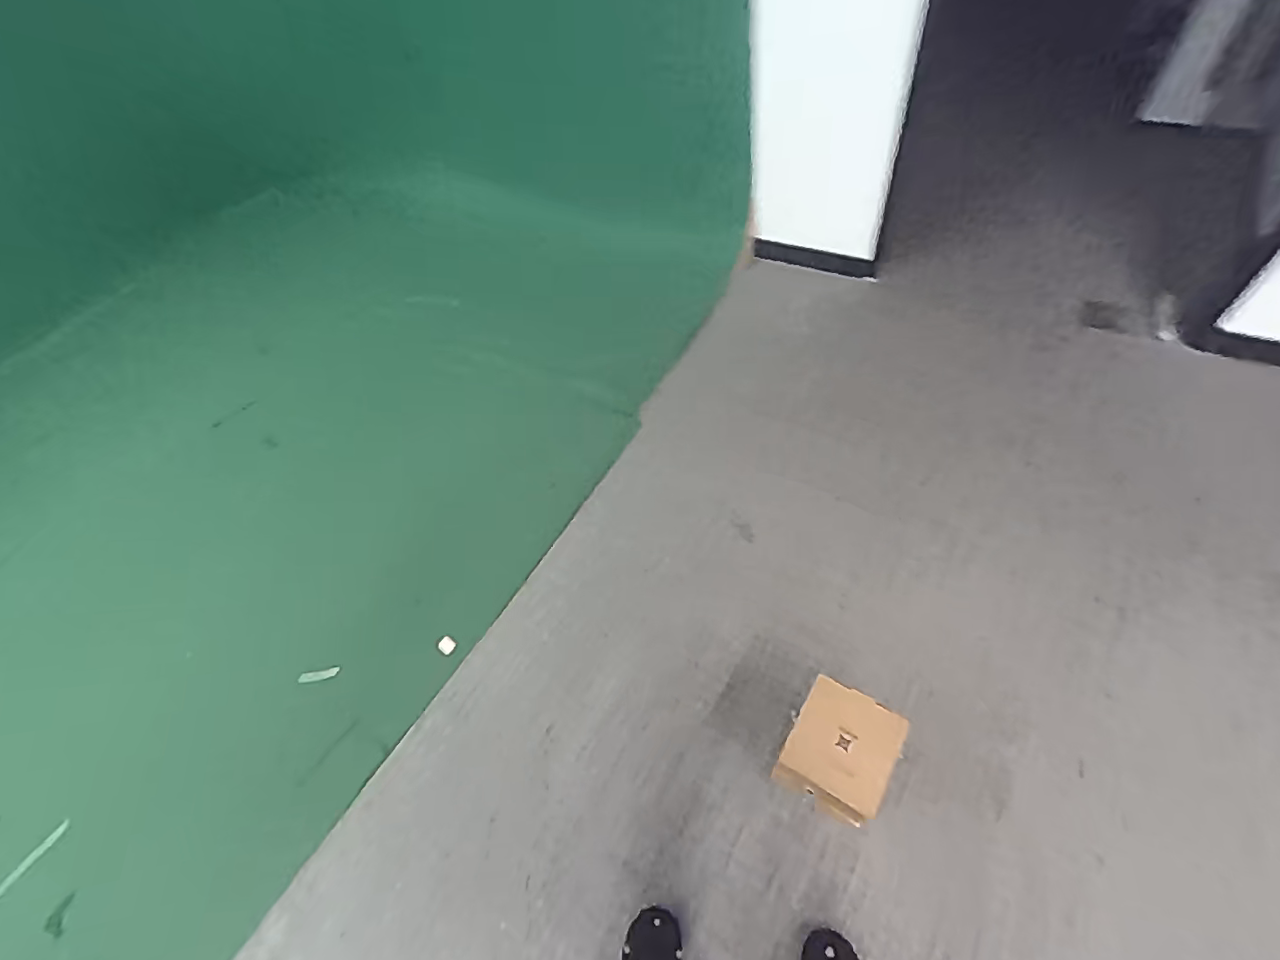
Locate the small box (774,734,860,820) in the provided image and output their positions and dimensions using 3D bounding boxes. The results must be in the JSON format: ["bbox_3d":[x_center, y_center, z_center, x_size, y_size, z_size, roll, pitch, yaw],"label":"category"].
[{"bbox_3d":[0.393,0.577,1.125,0.179,0.176,0.168,28,67,26],"label":"small box"}]

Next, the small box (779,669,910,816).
[{"bbox_3d":[0.367,0.484,0.995,0.168,0.176,0.179,25,67,27],"label":"small box"}]
